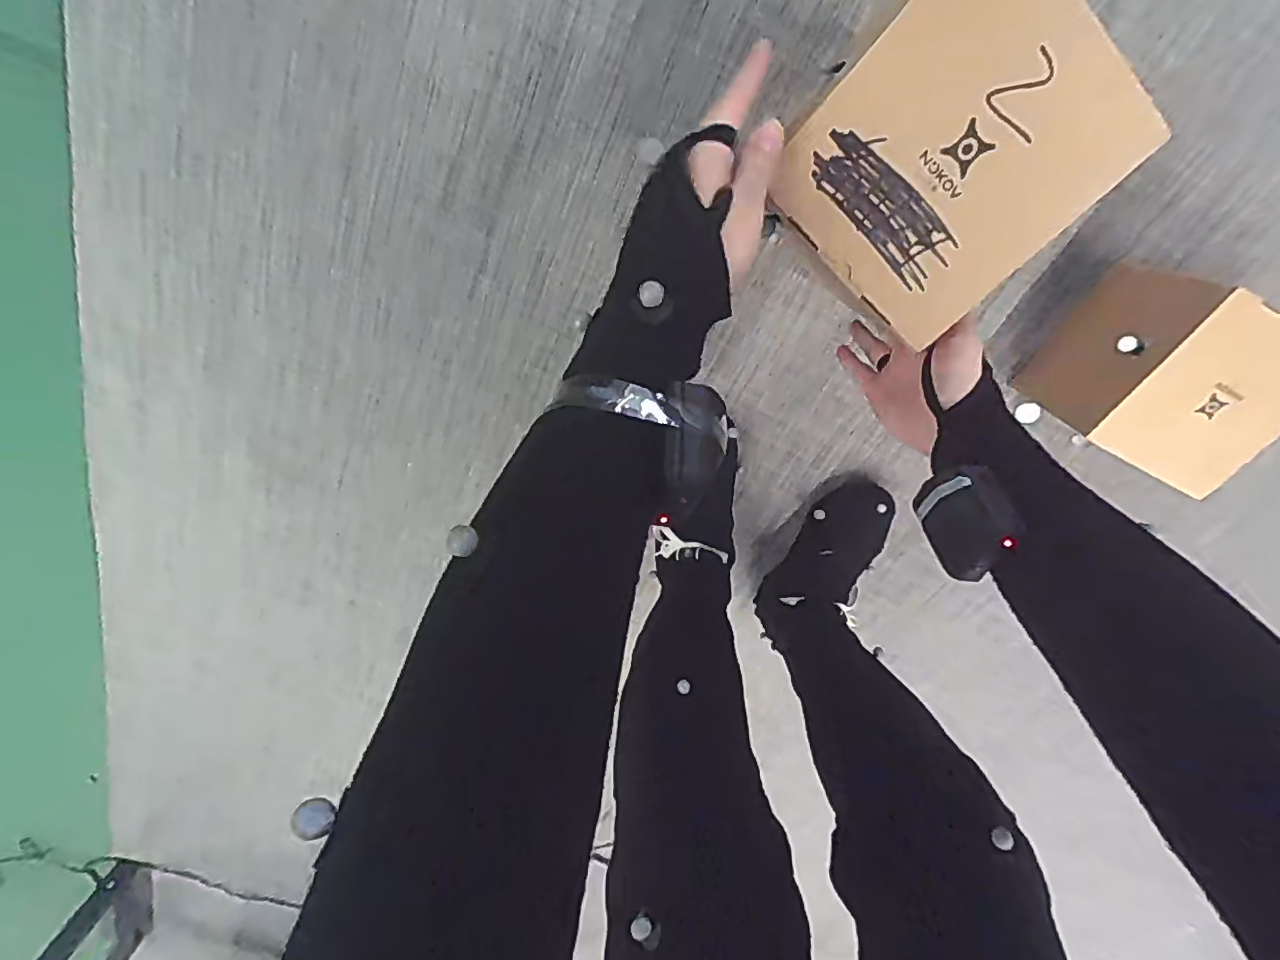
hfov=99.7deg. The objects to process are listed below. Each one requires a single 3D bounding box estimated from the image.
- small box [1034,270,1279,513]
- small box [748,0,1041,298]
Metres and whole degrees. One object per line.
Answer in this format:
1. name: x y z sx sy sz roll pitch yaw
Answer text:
1. small box: 0.580 -0.103 0.590 0.168 0.176 0.179 27 118 -8
2. small box: 0.218 -0.308 0.516 0.179 0.176 0.168 -37 110 23
